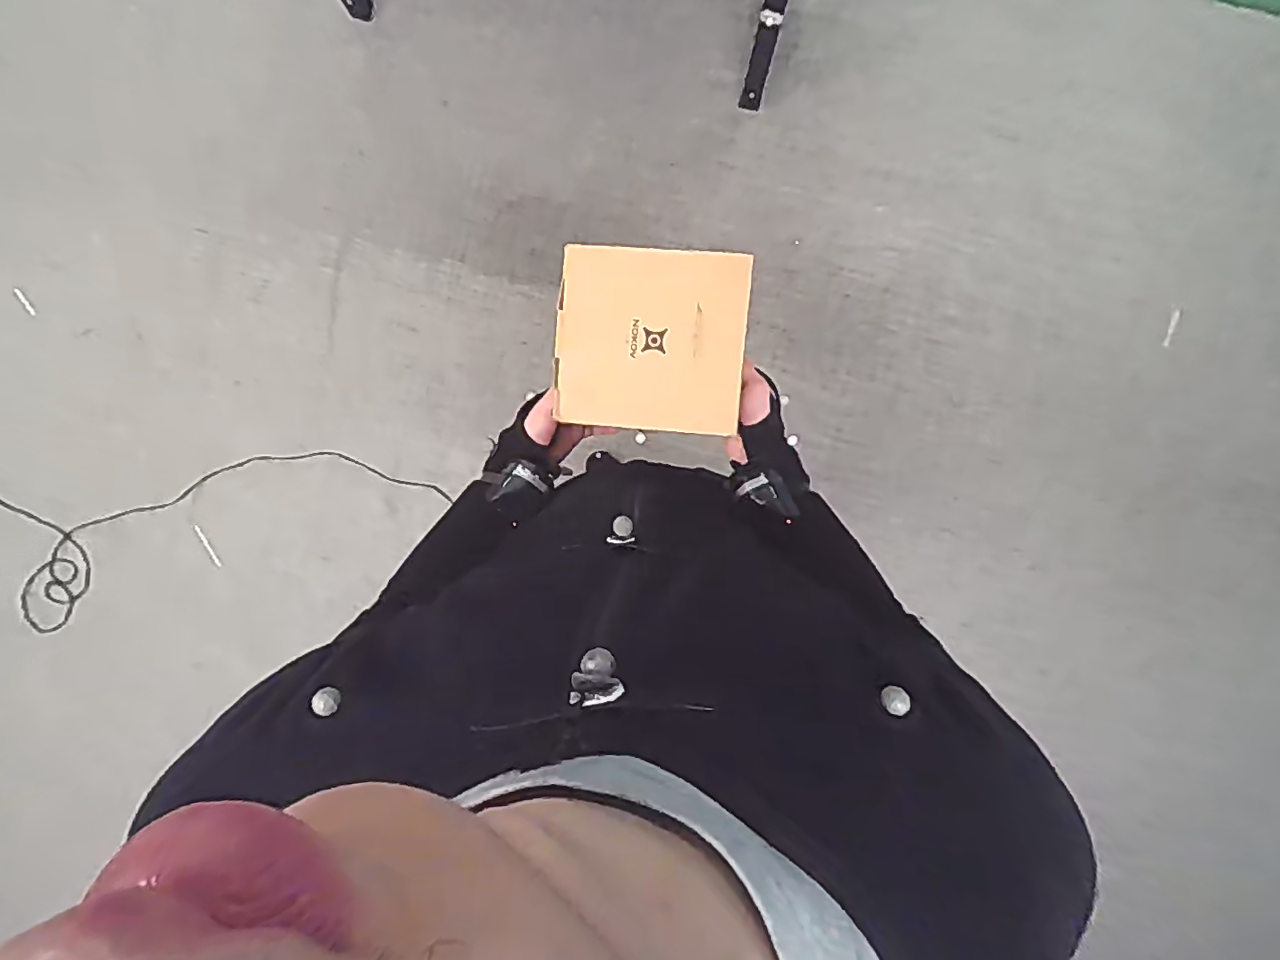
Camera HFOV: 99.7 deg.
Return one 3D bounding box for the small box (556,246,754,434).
[{"bbox_3d":[0.018,-0.137,0.581,0.179,0.176,0.168,4,96,4],"label":"small box"}]
